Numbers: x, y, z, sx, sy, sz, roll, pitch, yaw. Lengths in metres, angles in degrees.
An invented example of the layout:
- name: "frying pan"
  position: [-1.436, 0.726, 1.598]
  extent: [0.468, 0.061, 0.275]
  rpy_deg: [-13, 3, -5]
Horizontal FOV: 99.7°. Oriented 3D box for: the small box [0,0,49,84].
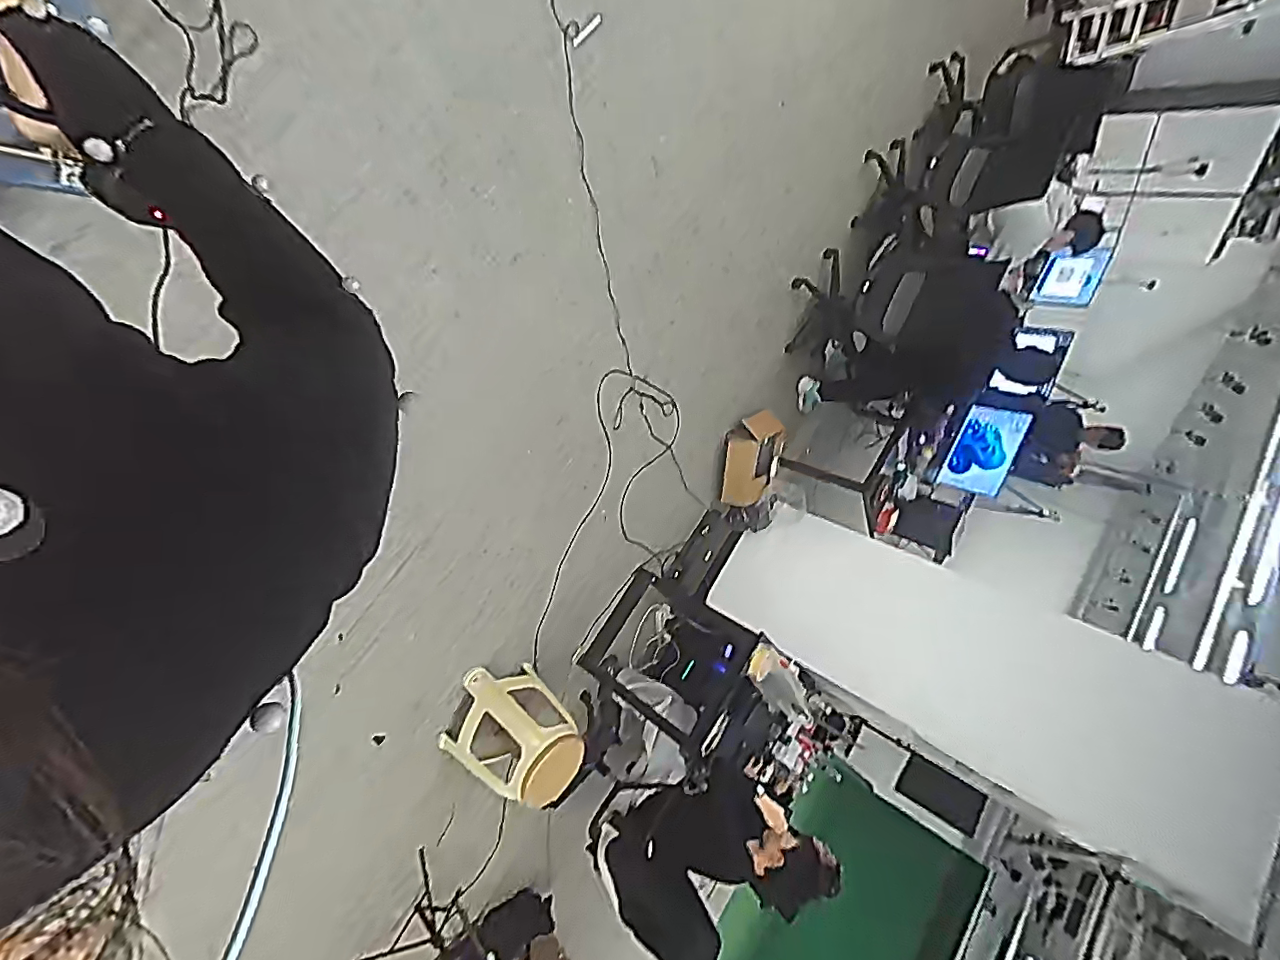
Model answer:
- name: "small box"
  position: [-0.879, -0.630, 0.677]
  extent: [0.168, 0.176, 0.179]
  rpy_deg: [-14, 118, -48]
